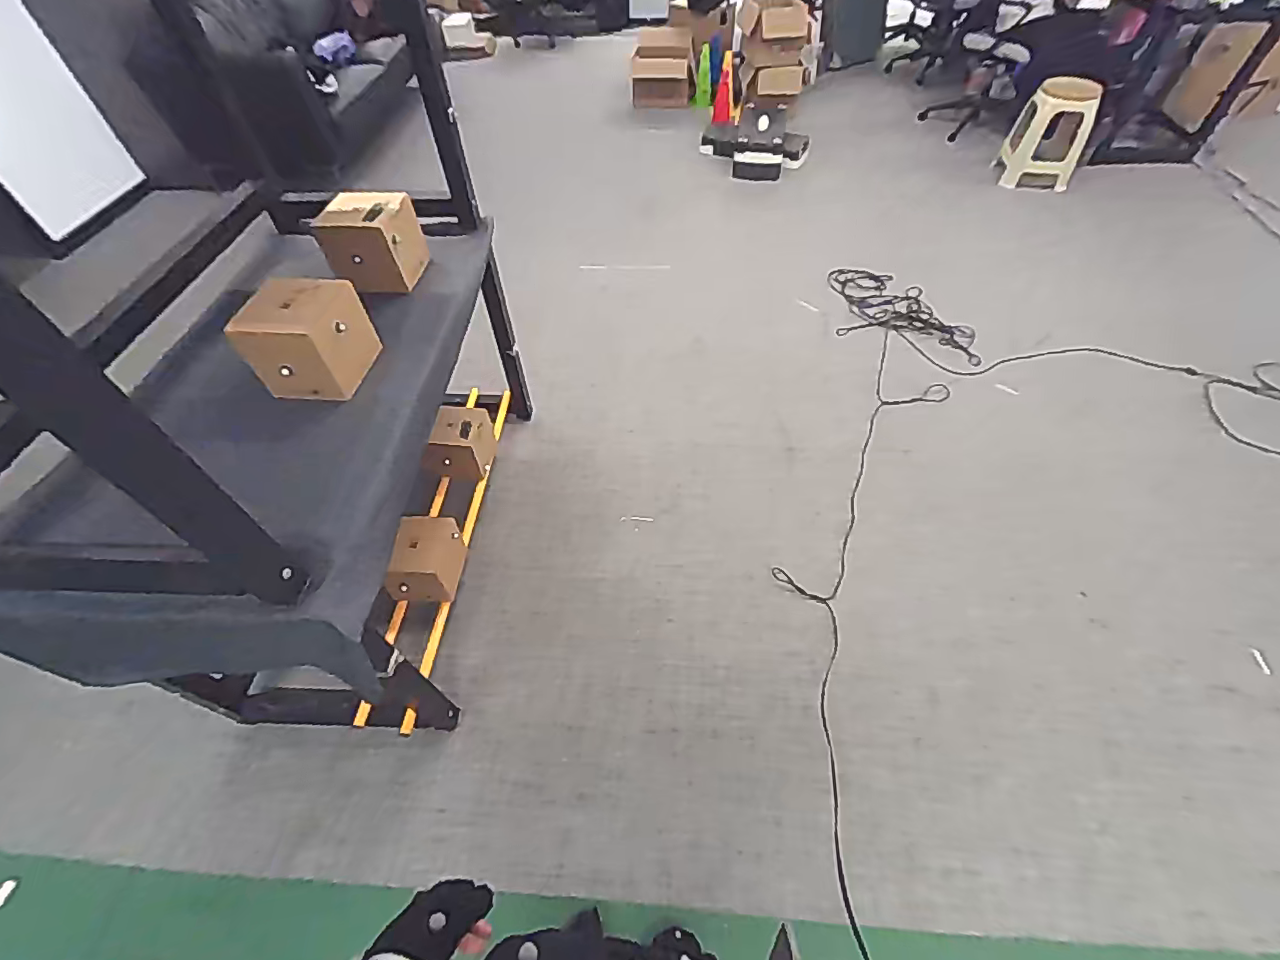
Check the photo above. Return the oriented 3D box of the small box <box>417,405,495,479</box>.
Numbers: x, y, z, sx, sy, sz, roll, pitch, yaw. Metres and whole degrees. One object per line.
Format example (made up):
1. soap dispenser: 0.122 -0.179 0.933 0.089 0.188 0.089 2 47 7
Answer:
1. small box: -0.584 -0.119 1.746 0.179 0.176 0.168 4 52 4

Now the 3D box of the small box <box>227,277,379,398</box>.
1. small box: -0.656 -0.283 1.083 0.168 0.176 0.179 4 52 4
